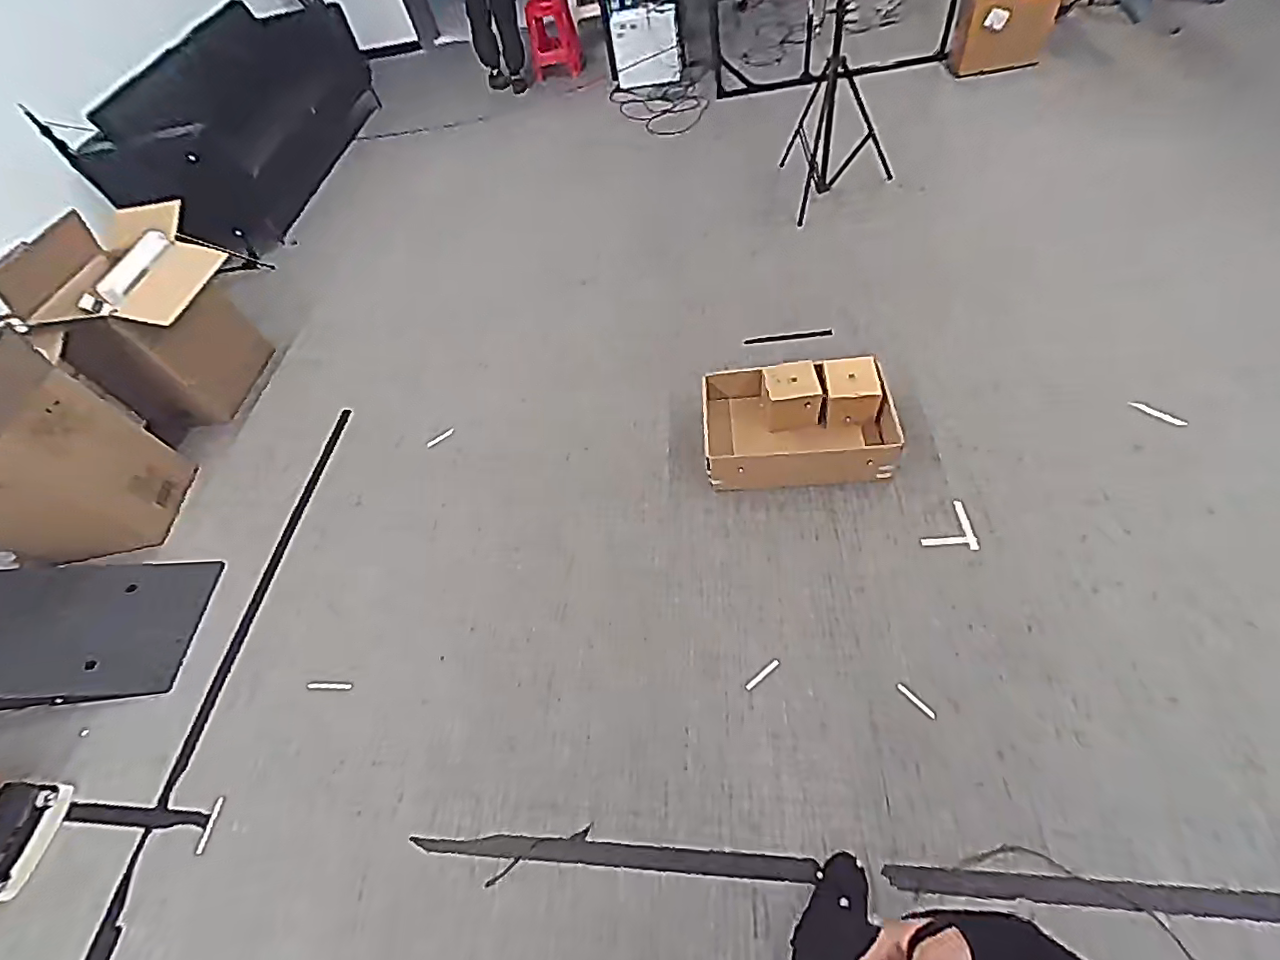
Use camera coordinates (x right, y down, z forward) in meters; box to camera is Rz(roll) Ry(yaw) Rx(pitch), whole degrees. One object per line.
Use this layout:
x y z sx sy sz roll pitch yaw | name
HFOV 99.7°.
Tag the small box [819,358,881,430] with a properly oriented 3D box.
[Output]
0.723 -0.298 1.884 0.168 0.176 0.179 -4 58 11 | small box
